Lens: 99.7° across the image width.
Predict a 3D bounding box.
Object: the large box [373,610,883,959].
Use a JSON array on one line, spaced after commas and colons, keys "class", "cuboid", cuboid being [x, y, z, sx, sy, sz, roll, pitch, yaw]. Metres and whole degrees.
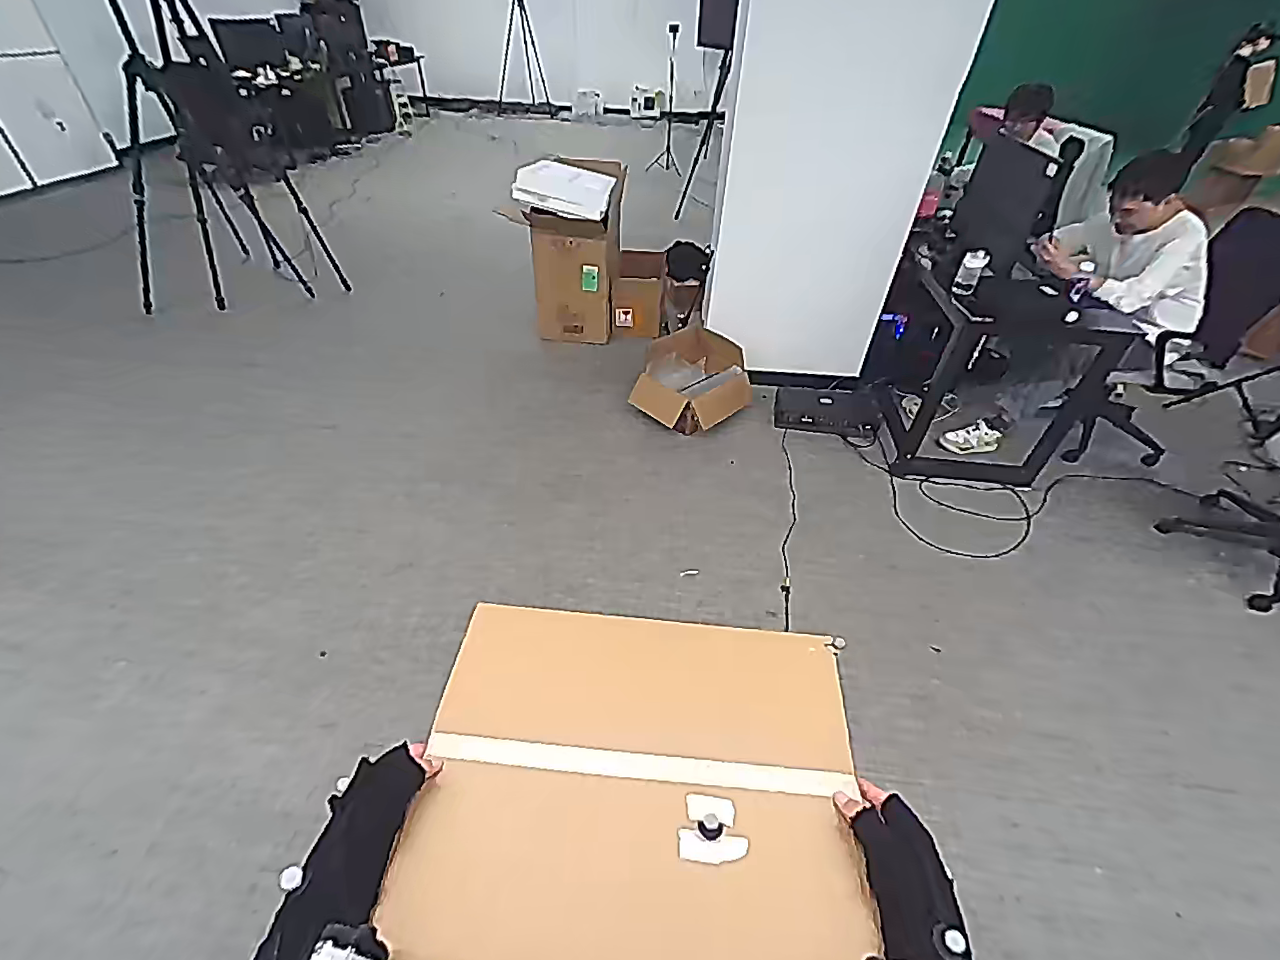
[{"class": "large box", "cuboid": [-0.005, 0.379, 0.616, 0.408, 0.320, 0.320, 6, 45, 3]}]
